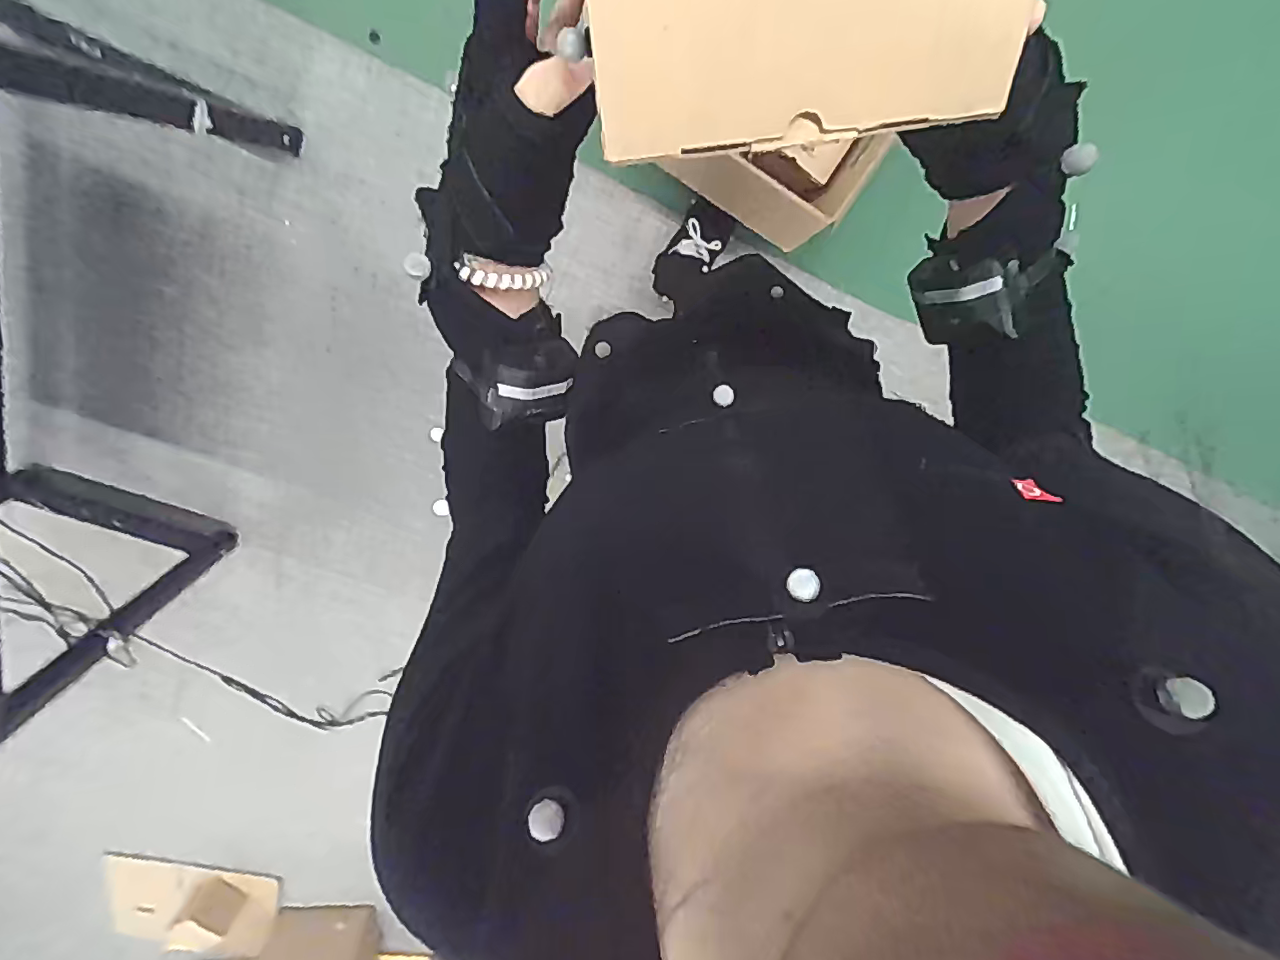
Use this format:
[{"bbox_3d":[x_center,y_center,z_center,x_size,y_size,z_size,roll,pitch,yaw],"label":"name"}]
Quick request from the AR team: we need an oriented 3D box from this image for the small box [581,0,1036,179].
[{"bbox_3d":[0.053,-0.253,0.232,0.168,0.176,0.179,-8,131,1],"label":"small box"}]
